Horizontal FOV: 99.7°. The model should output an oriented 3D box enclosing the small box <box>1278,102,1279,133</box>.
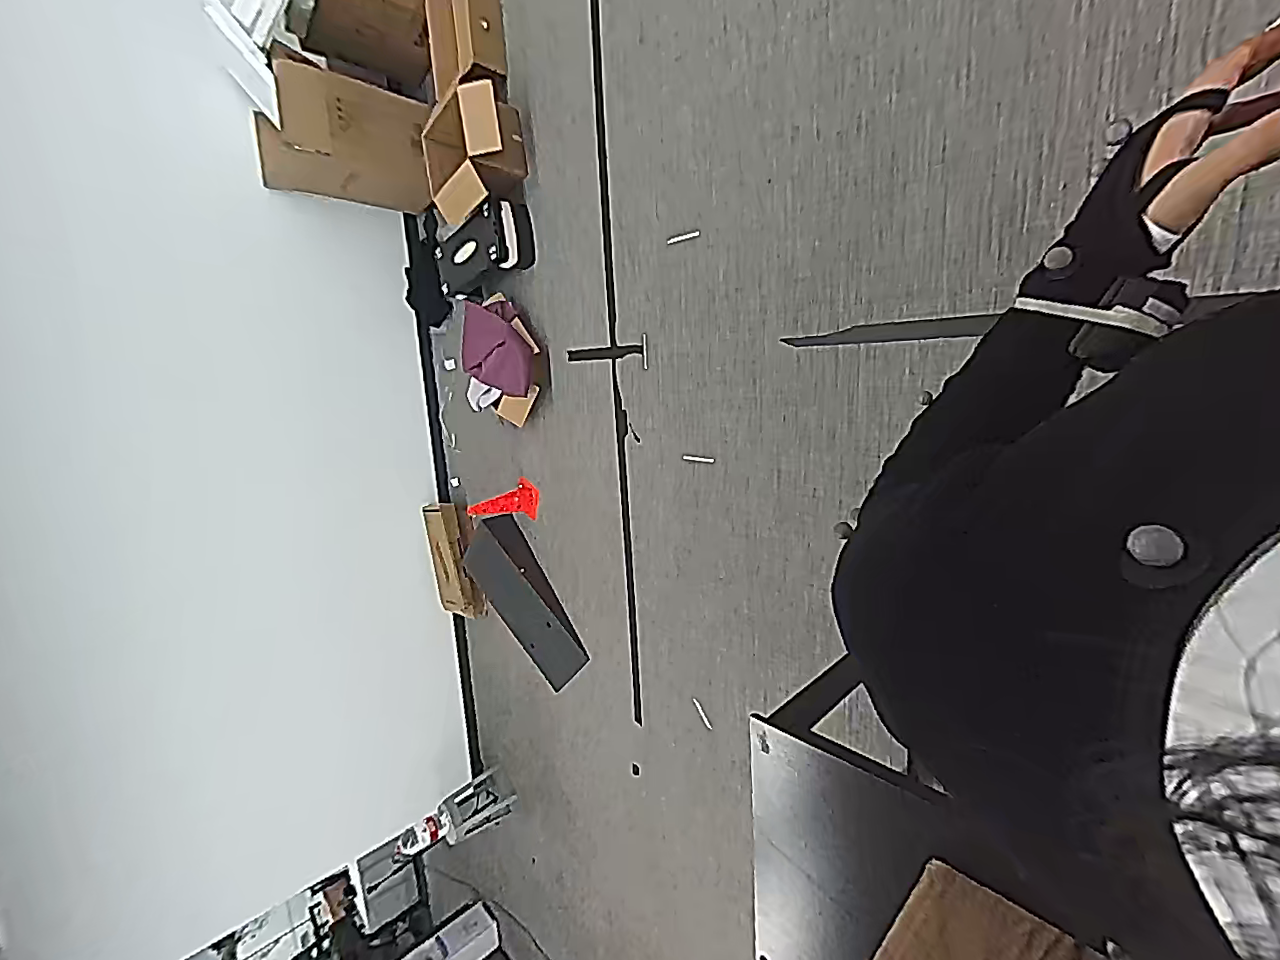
[{"bbox_3d":[0.462,-0.294,0.272,0.168,0.176,0.179,6,110,45],"label":"small box"}]
